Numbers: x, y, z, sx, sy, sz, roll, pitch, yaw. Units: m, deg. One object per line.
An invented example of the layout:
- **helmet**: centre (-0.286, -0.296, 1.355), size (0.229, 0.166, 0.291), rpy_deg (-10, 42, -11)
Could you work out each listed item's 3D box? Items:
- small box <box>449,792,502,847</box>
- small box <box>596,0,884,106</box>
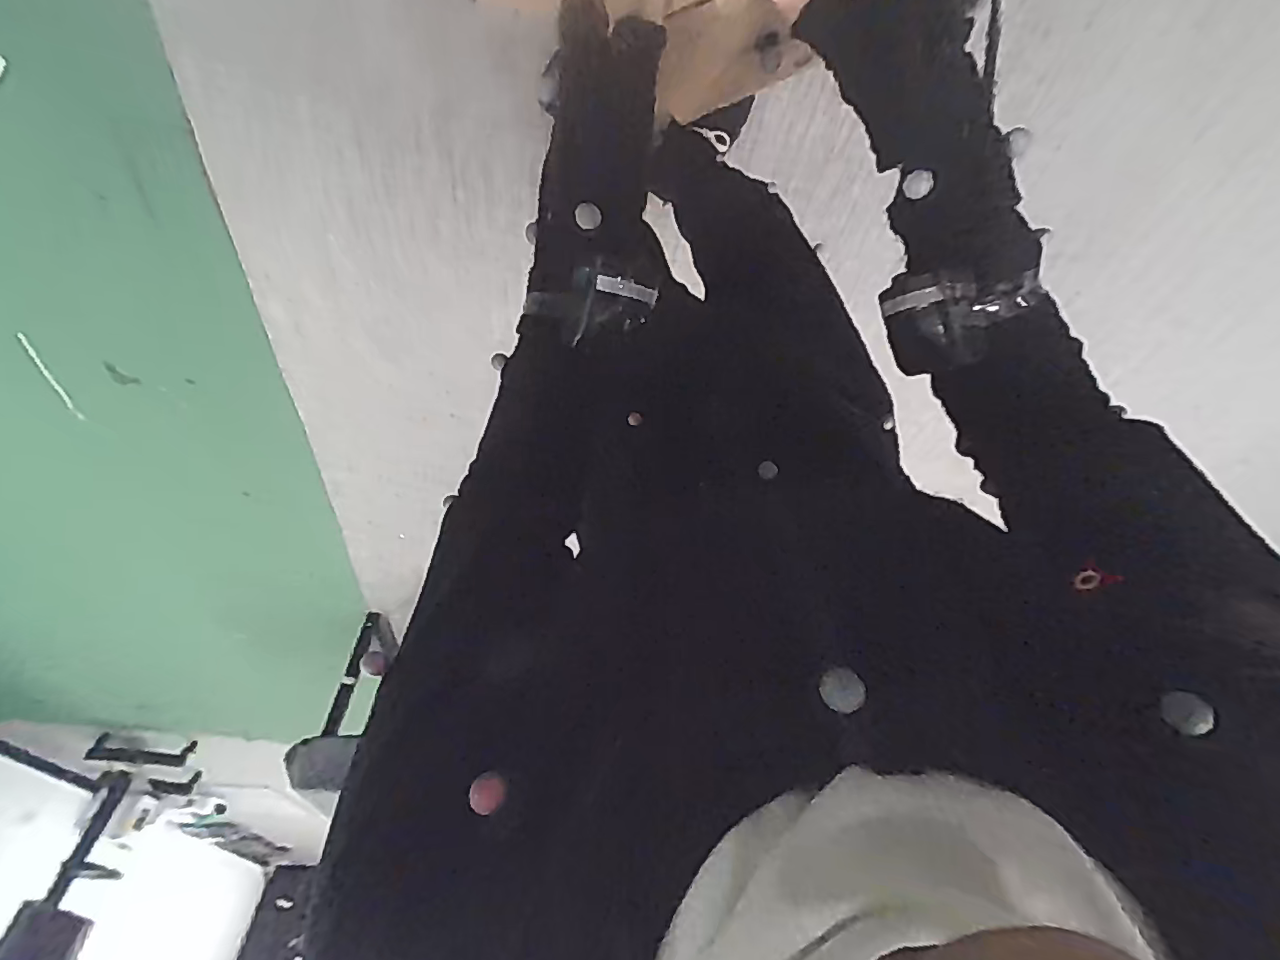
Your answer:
- **small box**: centre (-0.660, 1.379, 2.192), size (0.179, 0.176, 0.168), rpy_deg (9, 137, -6)
- **small box**: centre (0.059, -0.367, 0.337), size (0.168, 0.176, 0.179), rpy_deg (-11, 106, 22)
